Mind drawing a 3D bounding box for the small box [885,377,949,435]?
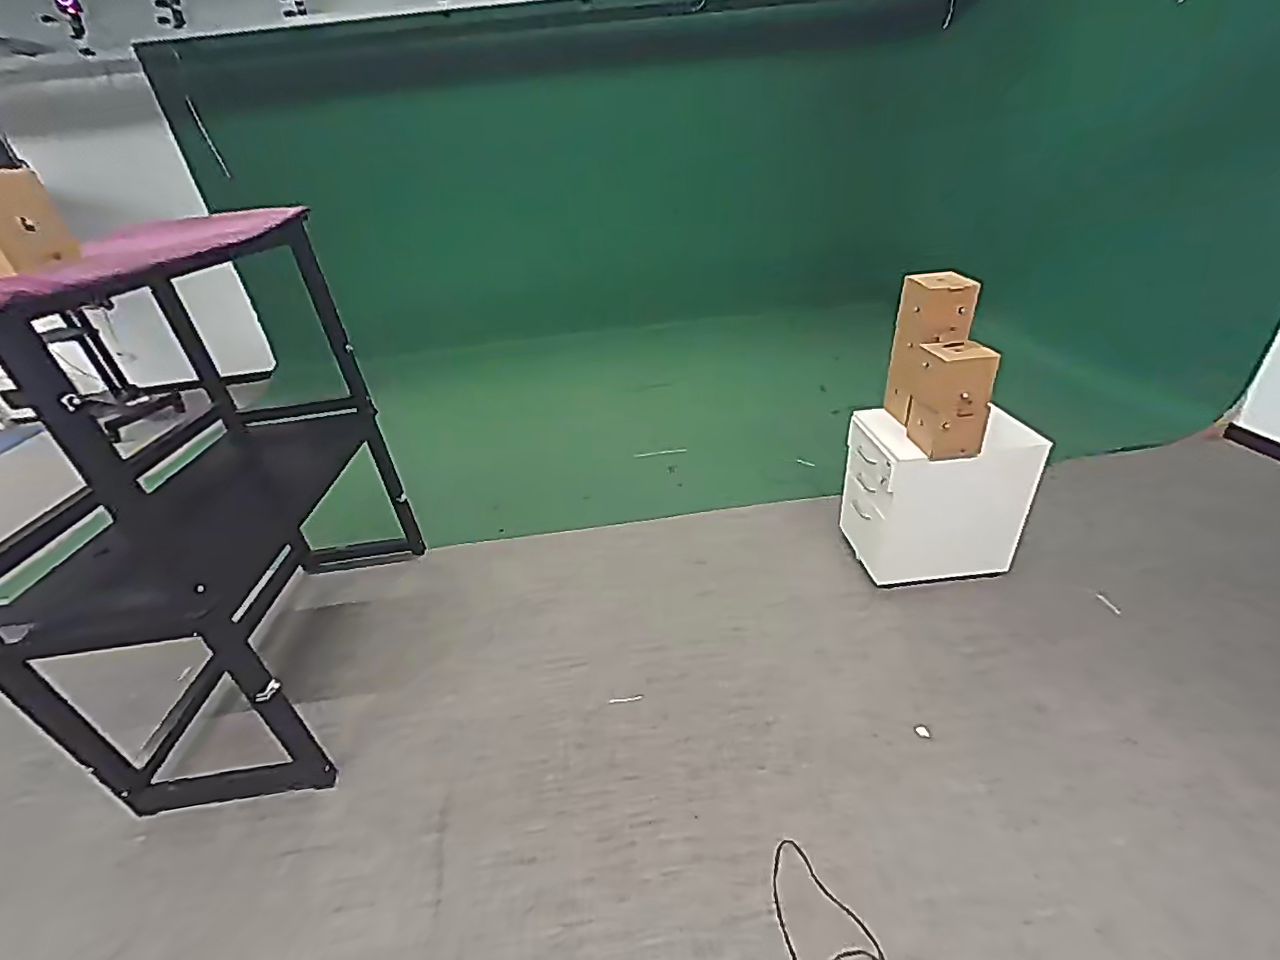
[{"bbox_3d":[1.034,-0.281,2.011,0.168,0.176,0.179,-7,32,-1],"label":"small box"}]

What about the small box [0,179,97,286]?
[{"bbox_3d":[-1.194,-0.456,1.006,0.179,0.176,0.168,-8,29,-3],"label":"small box"}]

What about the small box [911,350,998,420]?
[{"bbox_3d":[0.996,-0.305,1.731,0.168,0.176,0.179,-6,30,0],"label":"small box"}]

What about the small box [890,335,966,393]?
[{"bbox_3d":[1.017,-0.420,1.926,0.168,0.176,0.179,-5,33,0],"label":"small box"}]

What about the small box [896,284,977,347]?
[{"bbox_3d":[1.002,-0.557,1.839,0.168,0.176,0.179,-5,32,-2],"label":"small box"}]
